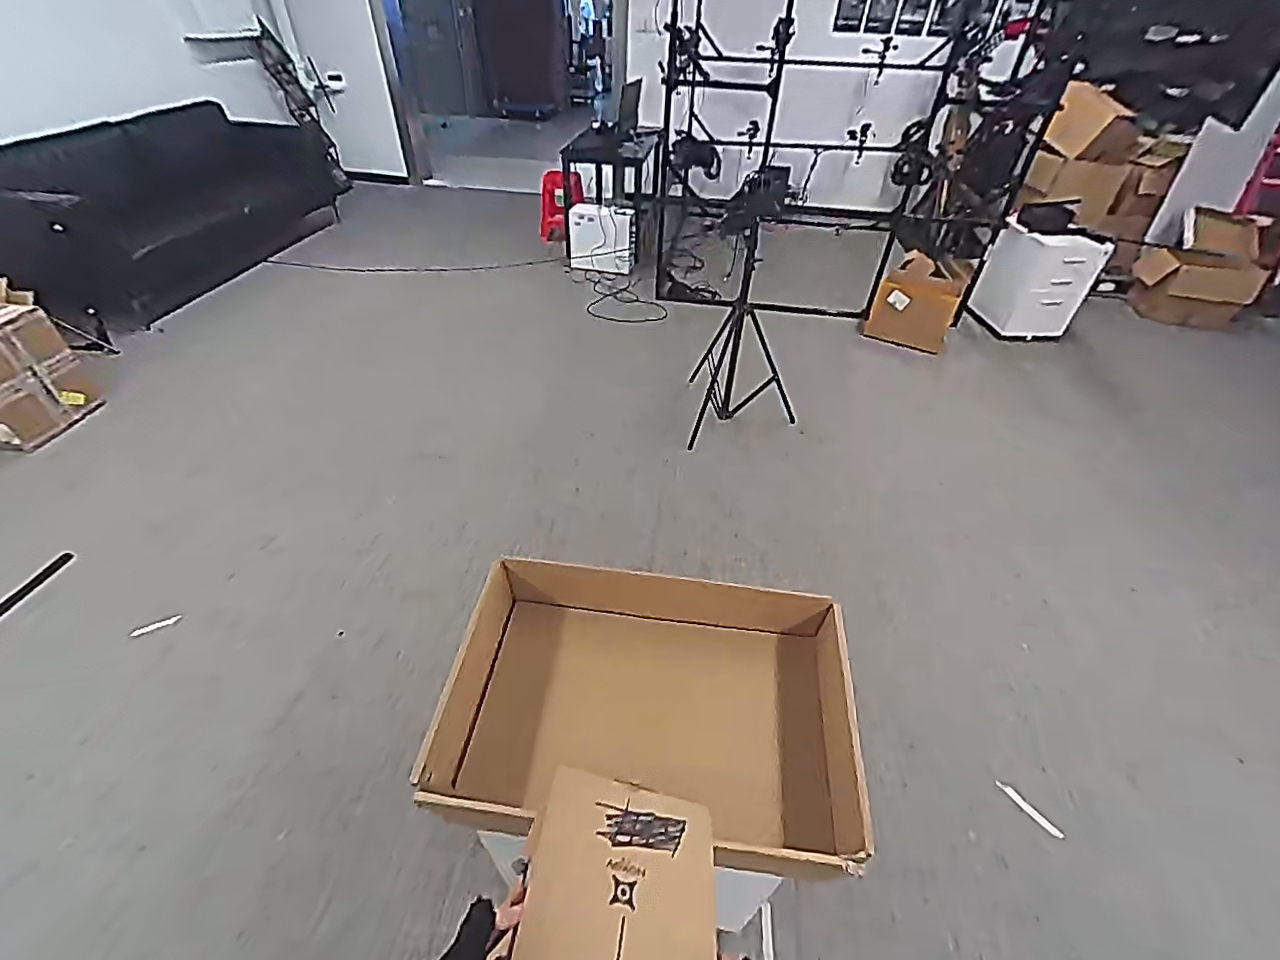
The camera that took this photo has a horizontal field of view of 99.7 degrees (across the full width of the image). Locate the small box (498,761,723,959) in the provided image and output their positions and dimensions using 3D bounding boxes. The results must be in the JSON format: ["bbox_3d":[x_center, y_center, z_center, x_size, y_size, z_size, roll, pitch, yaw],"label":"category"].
[{"bbox_3d":[-0.033,0.409,0.500,0.168,0.176,0.179,18,26,-4],"label":"small box"}]
